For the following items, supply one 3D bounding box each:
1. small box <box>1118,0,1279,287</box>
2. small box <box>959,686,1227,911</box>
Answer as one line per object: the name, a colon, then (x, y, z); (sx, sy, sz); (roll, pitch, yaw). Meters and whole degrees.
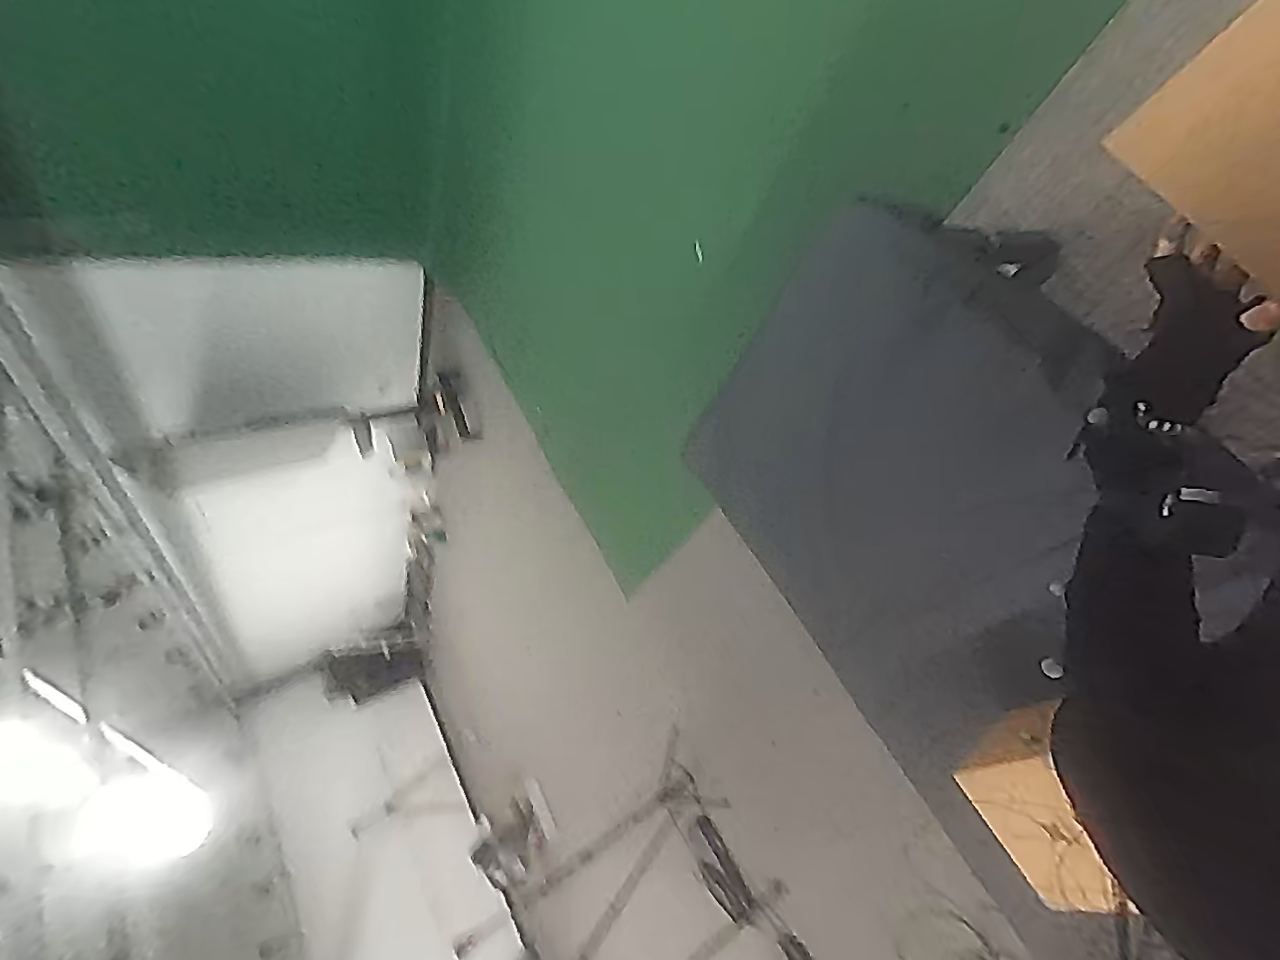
small box: (0.426, -0.226, 0.309); (0.179, 0.176, 0.168); (50, 141, 5)
small box: (0.546, 0.379, 0.657); (0.168, 0.176, 0.179); (58, 143, 22)
